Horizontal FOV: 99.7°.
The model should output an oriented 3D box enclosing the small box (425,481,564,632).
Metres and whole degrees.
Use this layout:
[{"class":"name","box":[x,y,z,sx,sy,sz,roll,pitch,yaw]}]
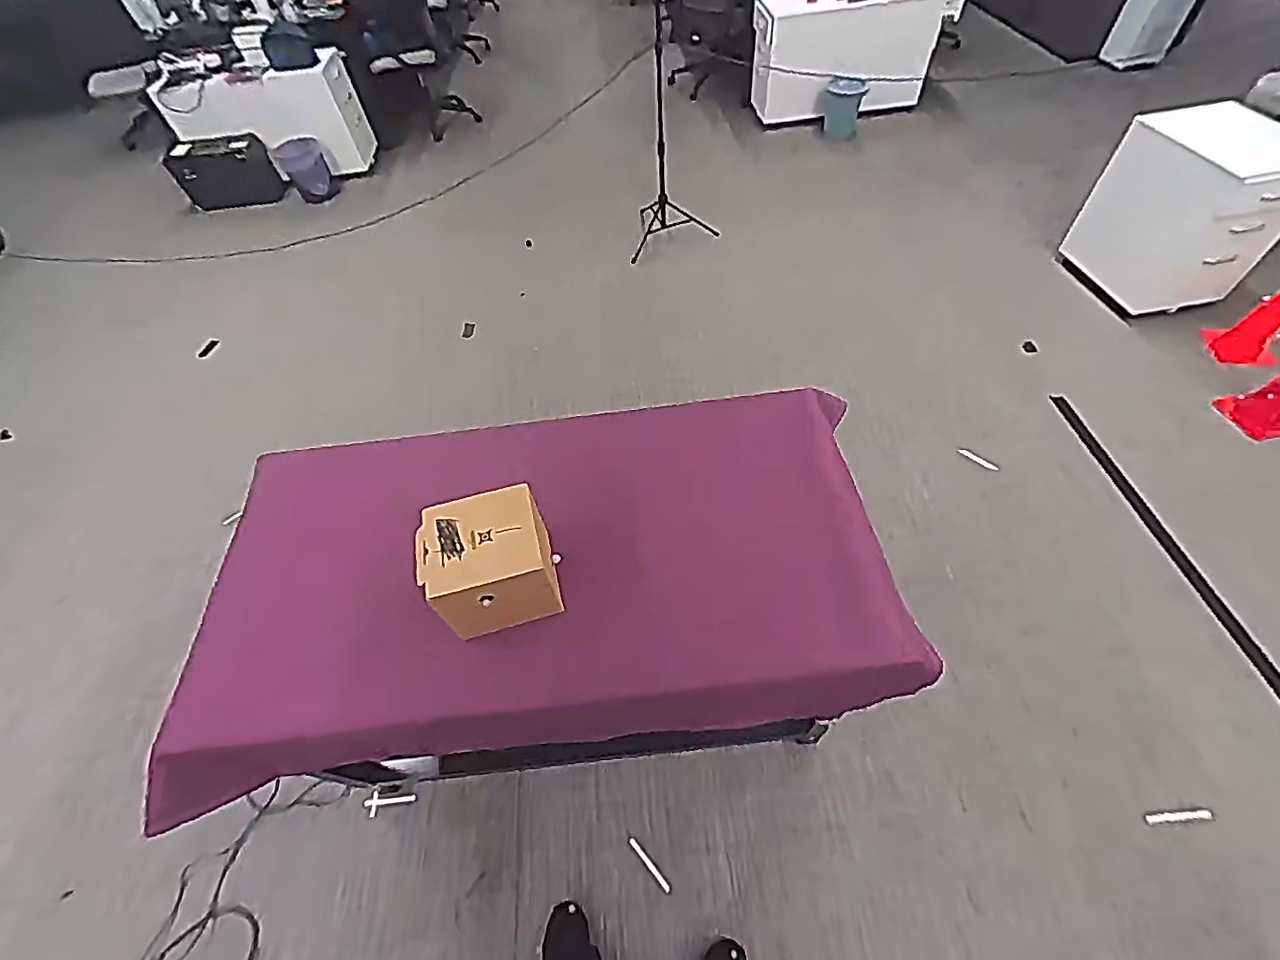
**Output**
[{"class":"small box","box":[-0.238,0.132,0.898,0.179,0.176,0.168,-14,54,-6]}]
